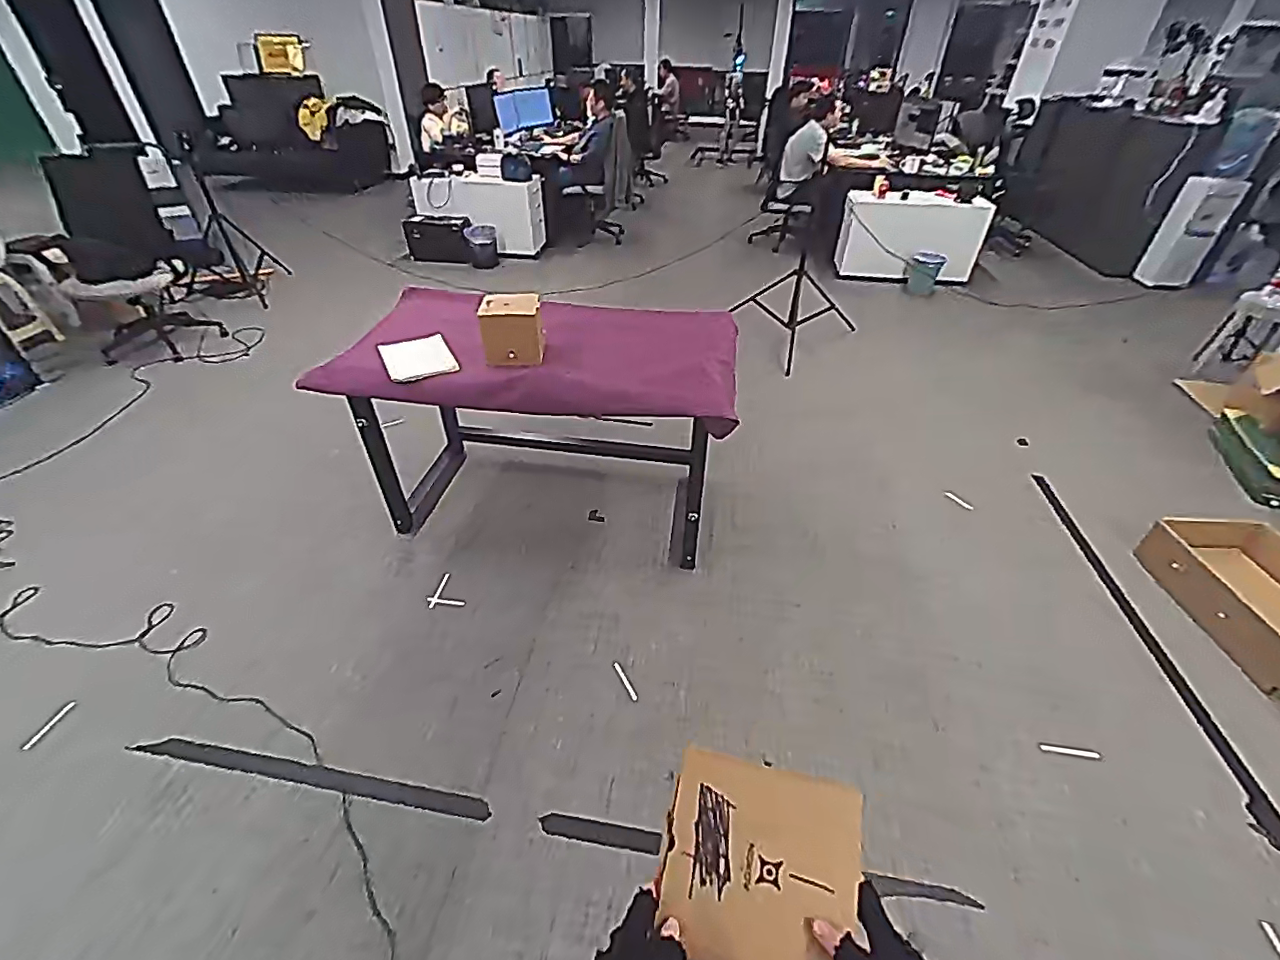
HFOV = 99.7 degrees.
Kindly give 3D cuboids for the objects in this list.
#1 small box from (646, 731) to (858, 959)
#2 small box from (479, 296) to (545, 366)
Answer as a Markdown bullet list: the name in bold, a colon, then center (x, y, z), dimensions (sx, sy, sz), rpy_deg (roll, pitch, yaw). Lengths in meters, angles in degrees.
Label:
- **small box**: center (0.109, 0.375, 0.562), dimensions (0.179, 0.176, 0.168), rpy_deg (11, 63, 7)
- **small box**: center (-0.400, -0.473, 1.721), dimensions (0.179, 0.176, 0.168), rpy_deg (-1, 38, -3)
